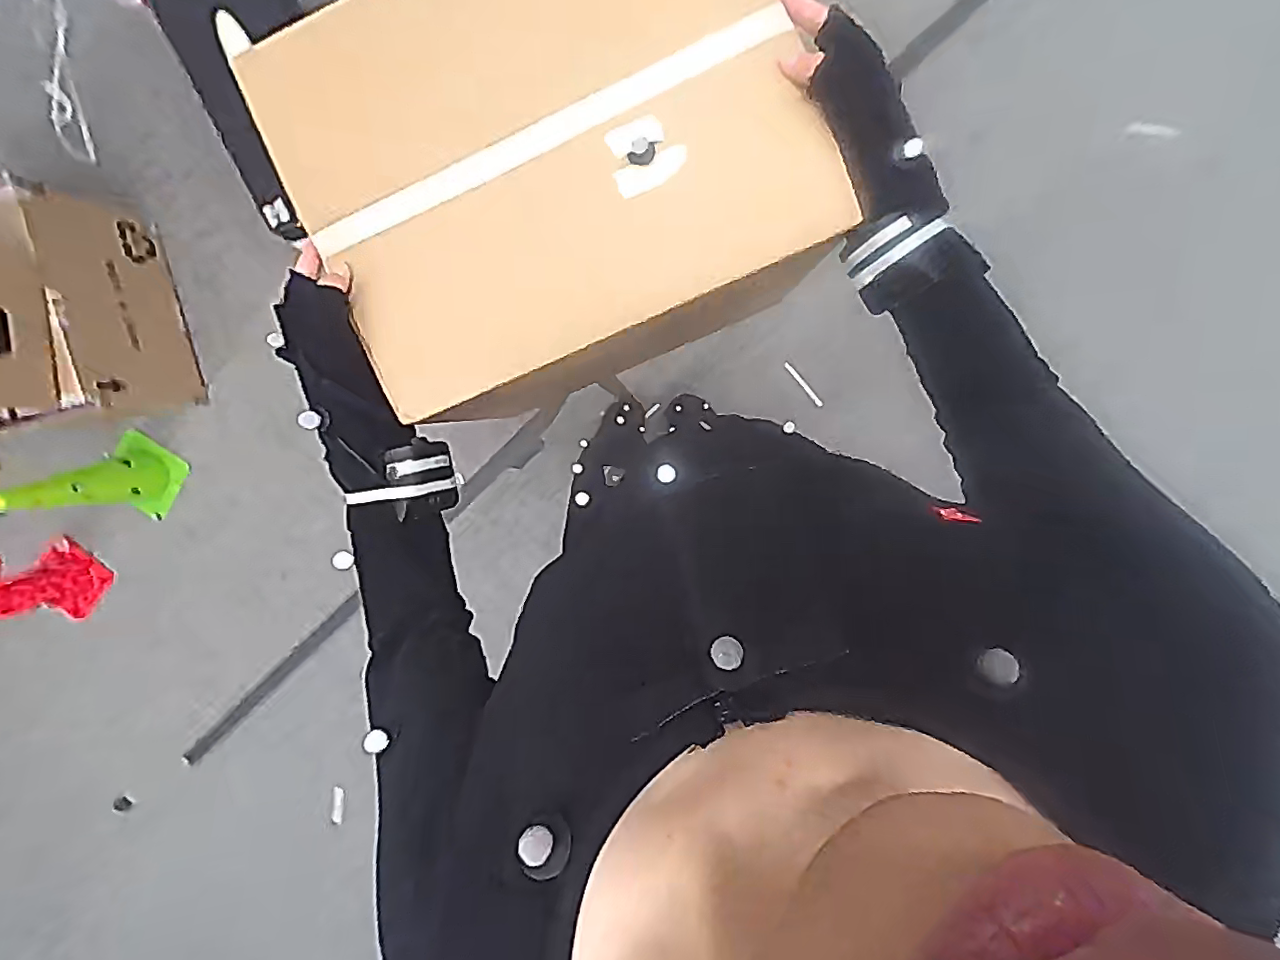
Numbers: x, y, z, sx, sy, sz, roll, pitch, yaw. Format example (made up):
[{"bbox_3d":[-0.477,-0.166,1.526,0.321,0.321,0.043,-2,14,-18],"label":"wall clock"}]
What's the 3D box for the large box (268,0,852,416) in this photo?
[{"bbox_3d":[-0.062,-0.288,0.581,0.408,0.320,0.320,-22,95,5],"label":"large box"}]
